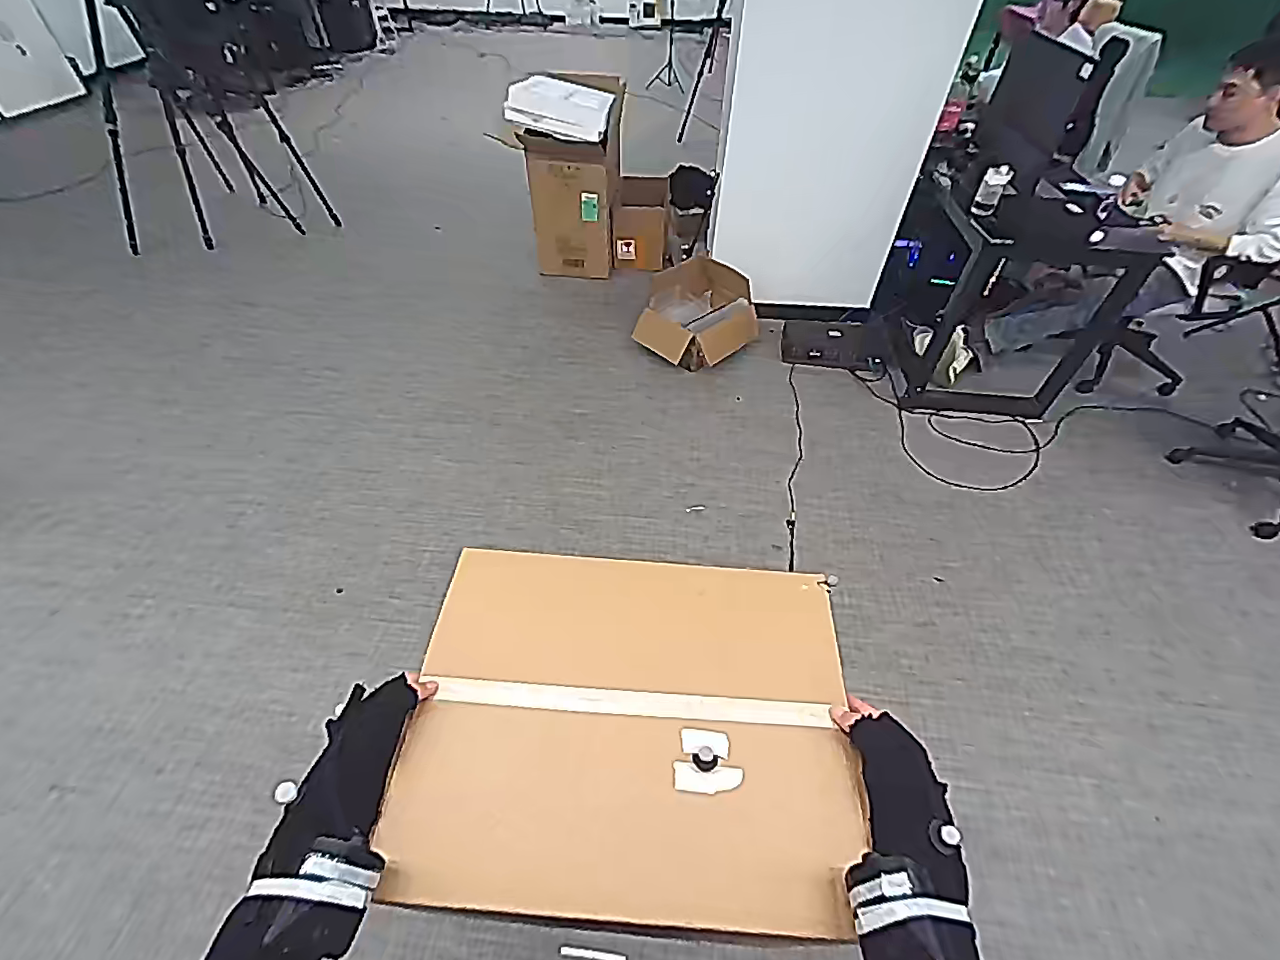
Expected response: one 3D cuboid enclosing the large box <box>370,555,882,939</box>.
[{"bbox_3d":[-0.012,0.310,0.620,0.408,0.320,0.320,5,49,0],"label":"large box"}]
